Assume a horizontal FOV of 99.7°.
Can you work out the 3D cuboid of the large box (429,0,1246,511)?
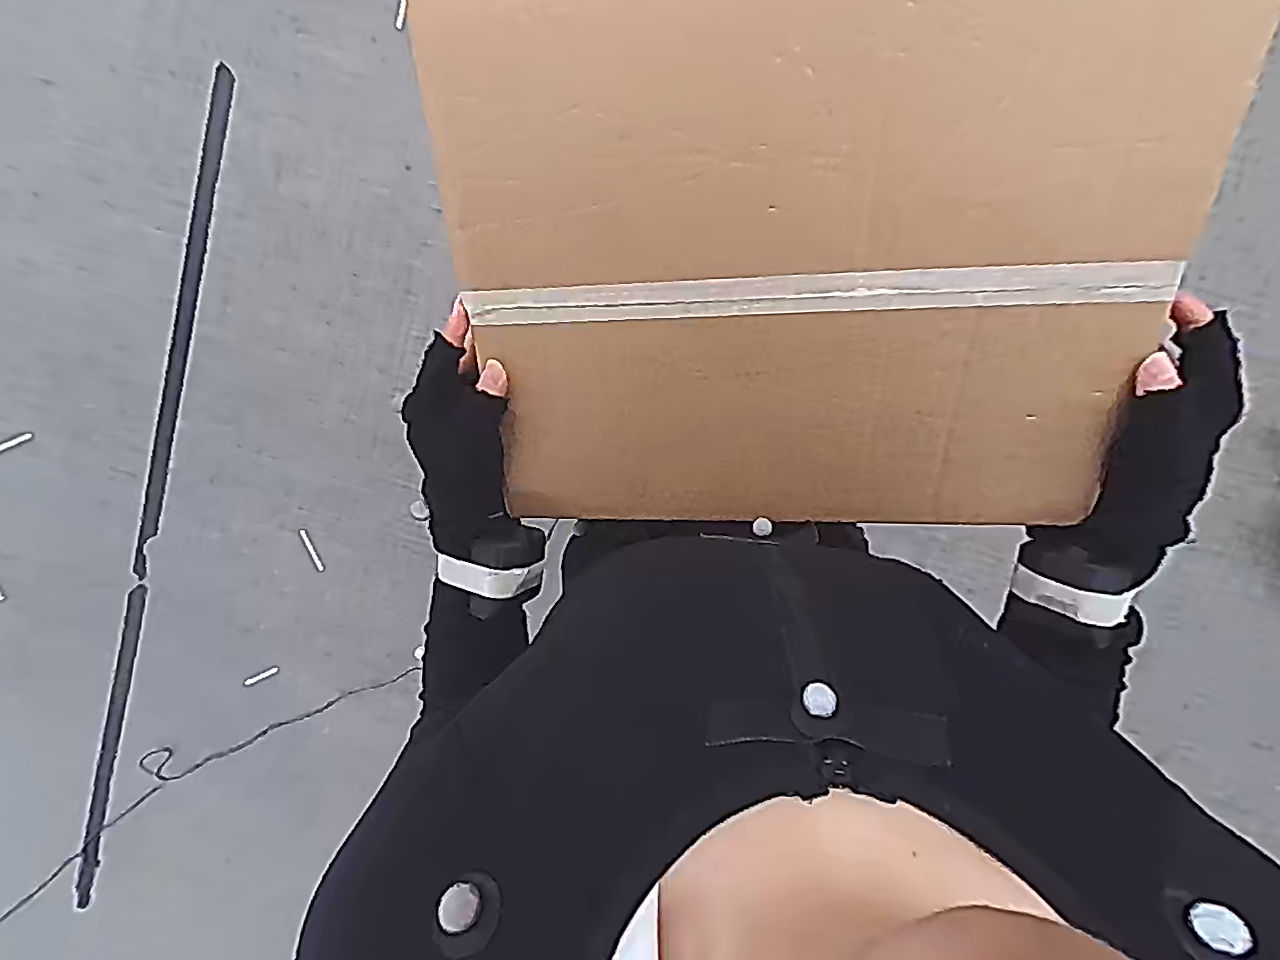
[{"bbox_3d":[0.105,-0.181,0.460,0.408,0.320,0.320,1,118,7],"label":"large box"}]
